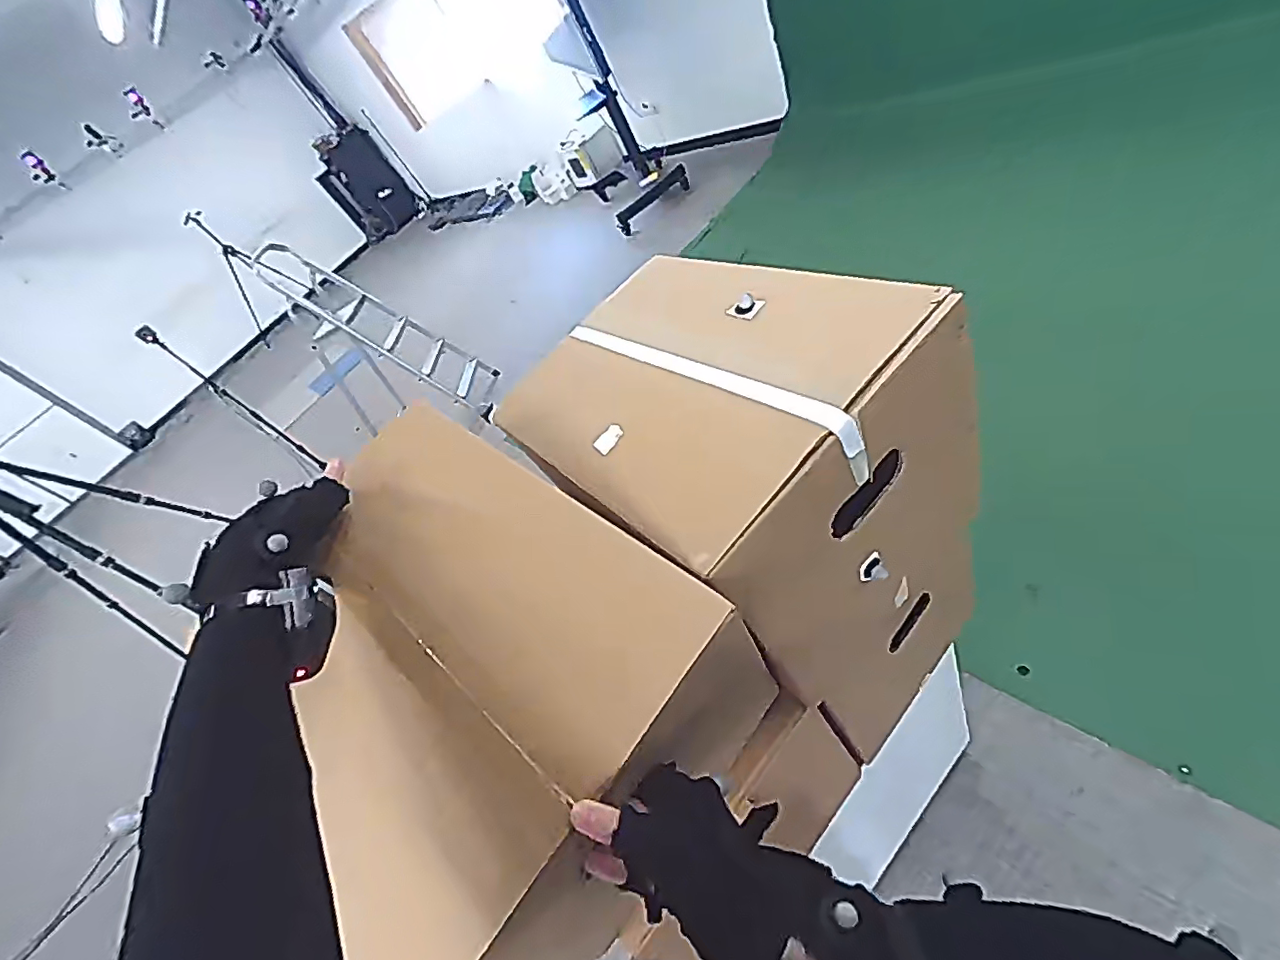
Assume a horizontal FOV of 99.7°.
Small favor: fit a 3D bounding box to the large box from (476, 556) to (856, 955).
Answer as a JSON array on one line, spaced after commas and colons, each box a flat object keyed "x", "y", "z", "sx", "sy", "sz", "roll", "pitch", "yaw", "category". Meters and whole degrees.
[{"x": 0.037, "y": 0.381, "z": 0.806, "sx": 0.320, "sy": 0.320, "sz": 0.408, "roll": -48, "pitch": 40, "yaw": -15, "category": "large box"}]
